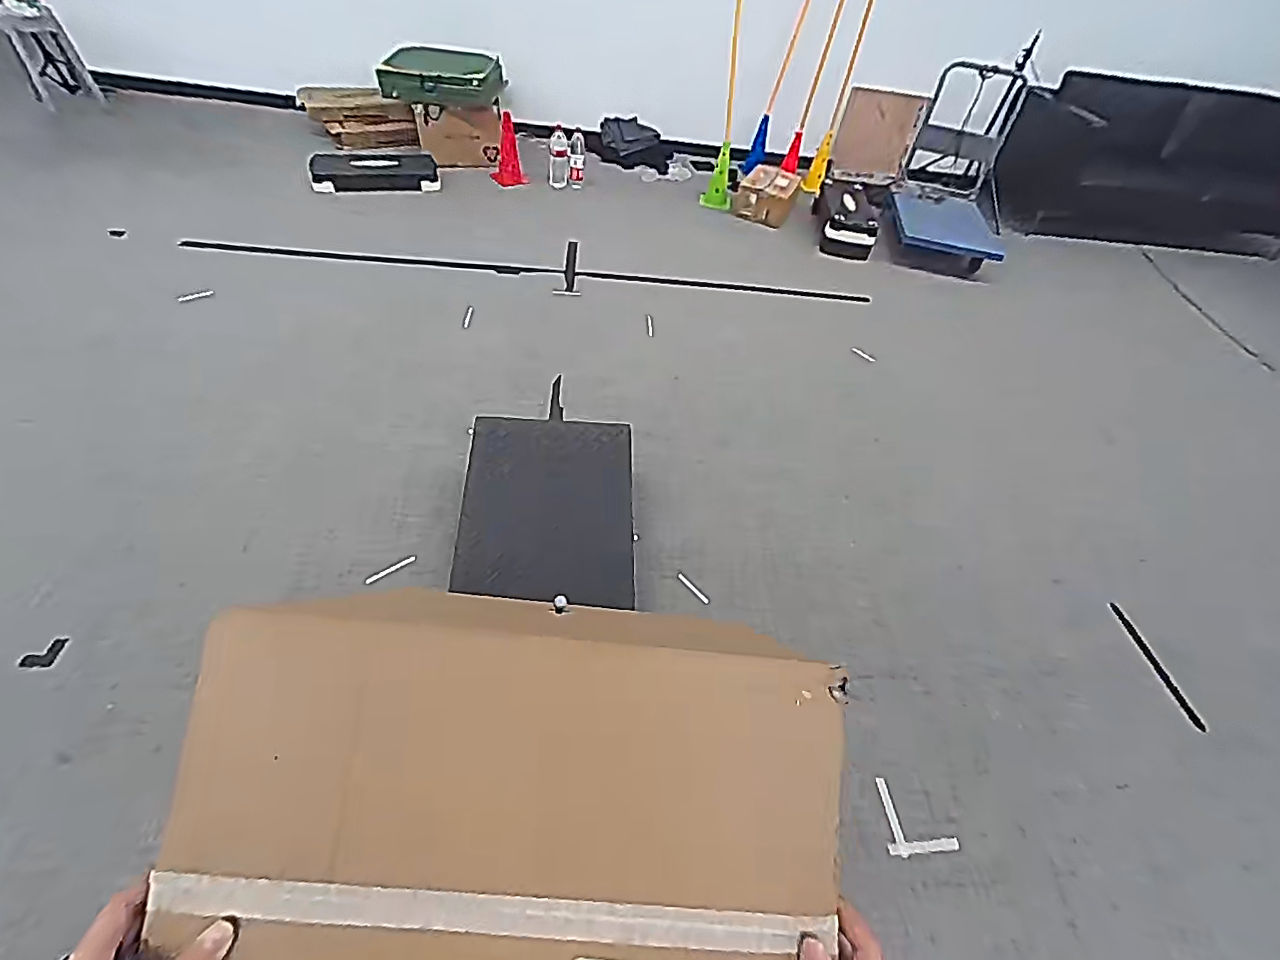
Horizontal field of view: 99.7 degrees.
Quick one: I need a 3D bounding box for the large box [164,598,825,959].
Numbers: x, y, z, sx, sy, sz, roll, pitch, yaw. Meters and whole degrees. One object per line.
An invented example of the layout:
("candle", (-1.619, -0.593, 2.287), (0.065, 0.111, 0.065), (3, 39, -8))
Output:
("large box", (-0.093, 0.279, 0.485), (0.408, 0.320, 0.320), (6, 82, -3))
